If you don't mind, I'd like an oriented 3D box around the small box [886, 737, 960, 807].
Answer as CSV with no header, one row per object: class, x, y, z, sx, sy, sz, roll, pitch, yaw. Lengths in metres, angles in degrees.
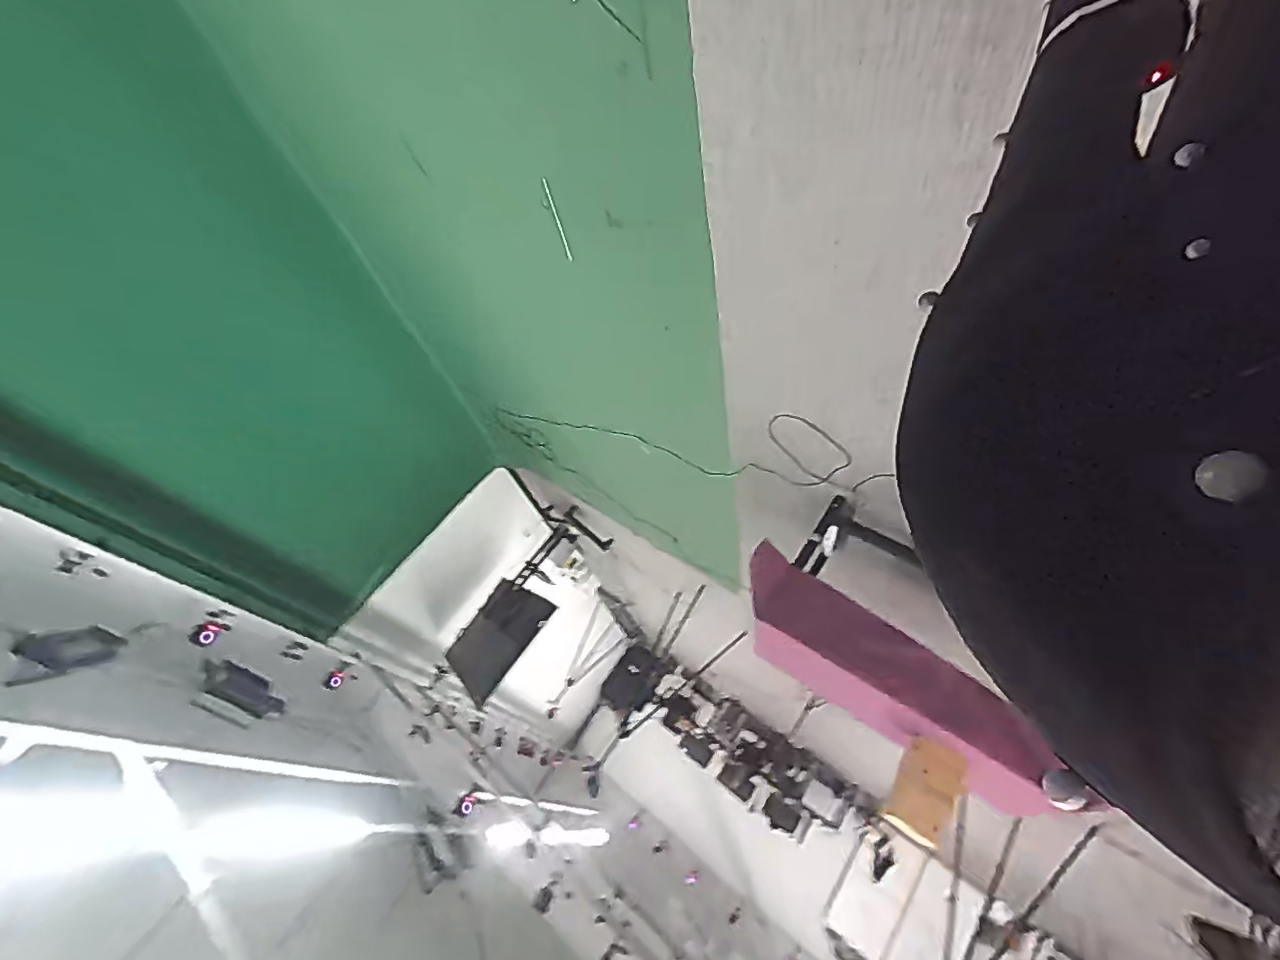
small box,1.118,1.146,2.131,0.179,0.176,0.168,34,159,16
